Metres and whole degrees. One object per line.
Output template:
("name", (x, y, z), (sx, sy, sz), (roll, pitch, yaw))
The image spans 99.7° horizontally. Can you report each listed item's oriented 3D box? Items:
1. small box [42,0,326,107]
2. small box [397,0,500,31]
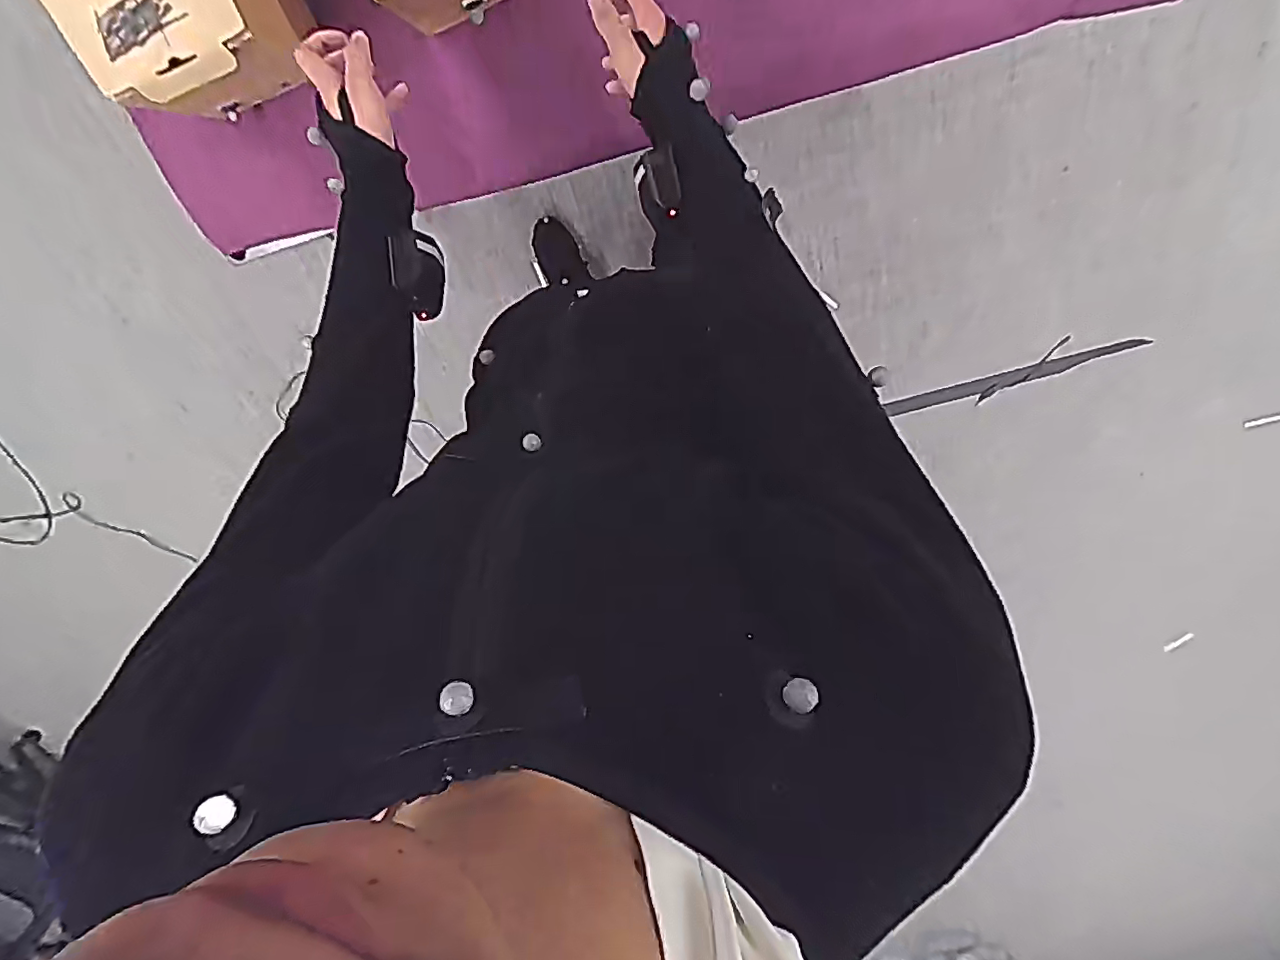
("small box", (-0.462, -0.499, 0.540), (0.168, 0.176, 0.179), (-17, 117, 8))
("small box", (-0.200, -0.572, 0.505), (0.168, 0.176, 0.179), (-19, 118, 11))
